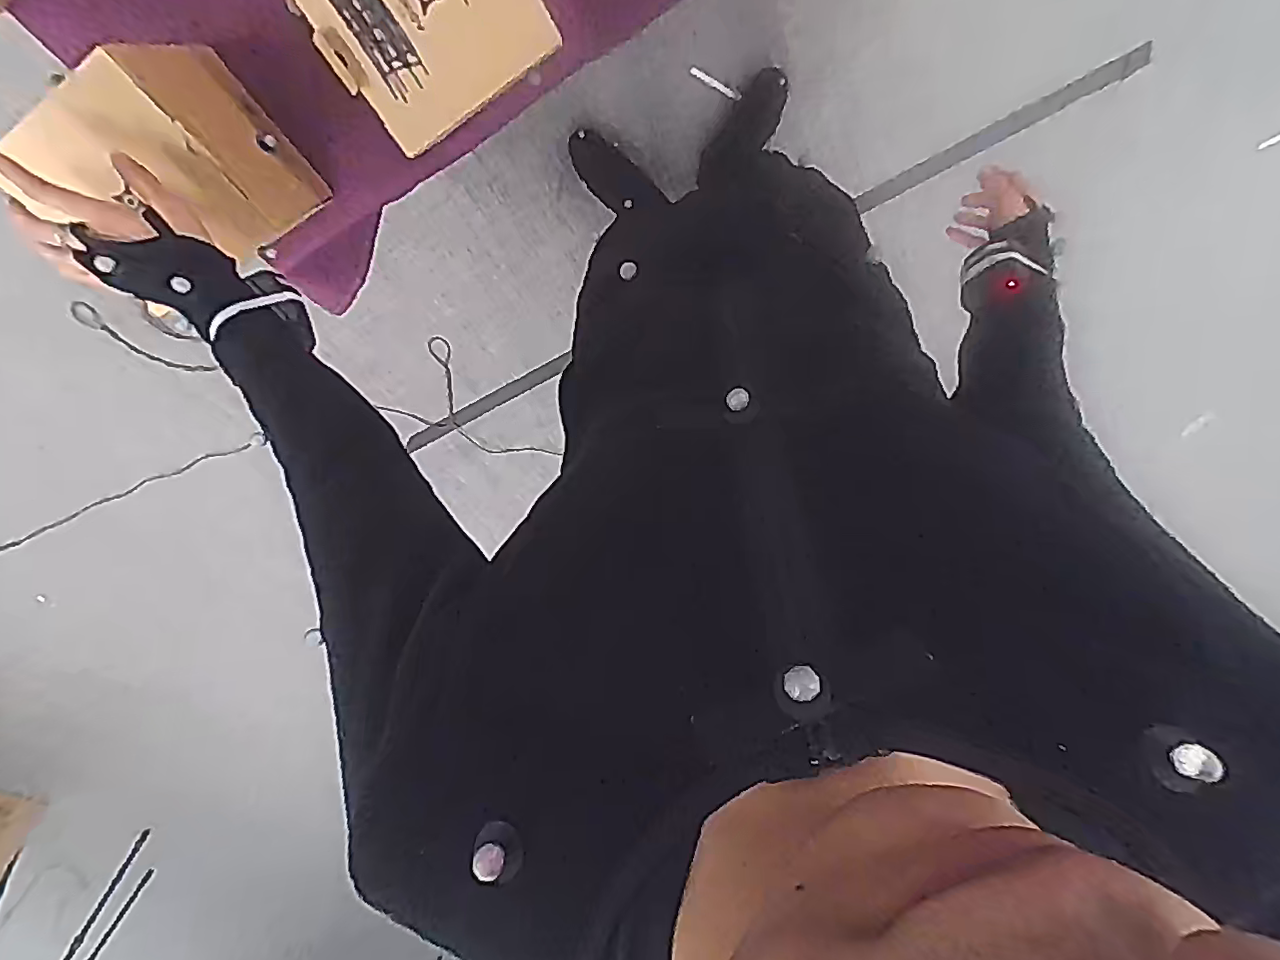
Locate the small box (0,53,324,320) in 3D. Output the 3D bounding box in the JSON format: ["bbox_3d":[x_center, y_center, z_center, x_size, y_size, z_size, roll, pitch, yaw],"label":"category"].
[{"bbox_3d":[-0.478,-0.305,0.569,0.179,0.176,0.168,-28,126,13],"label":"small box"}]
